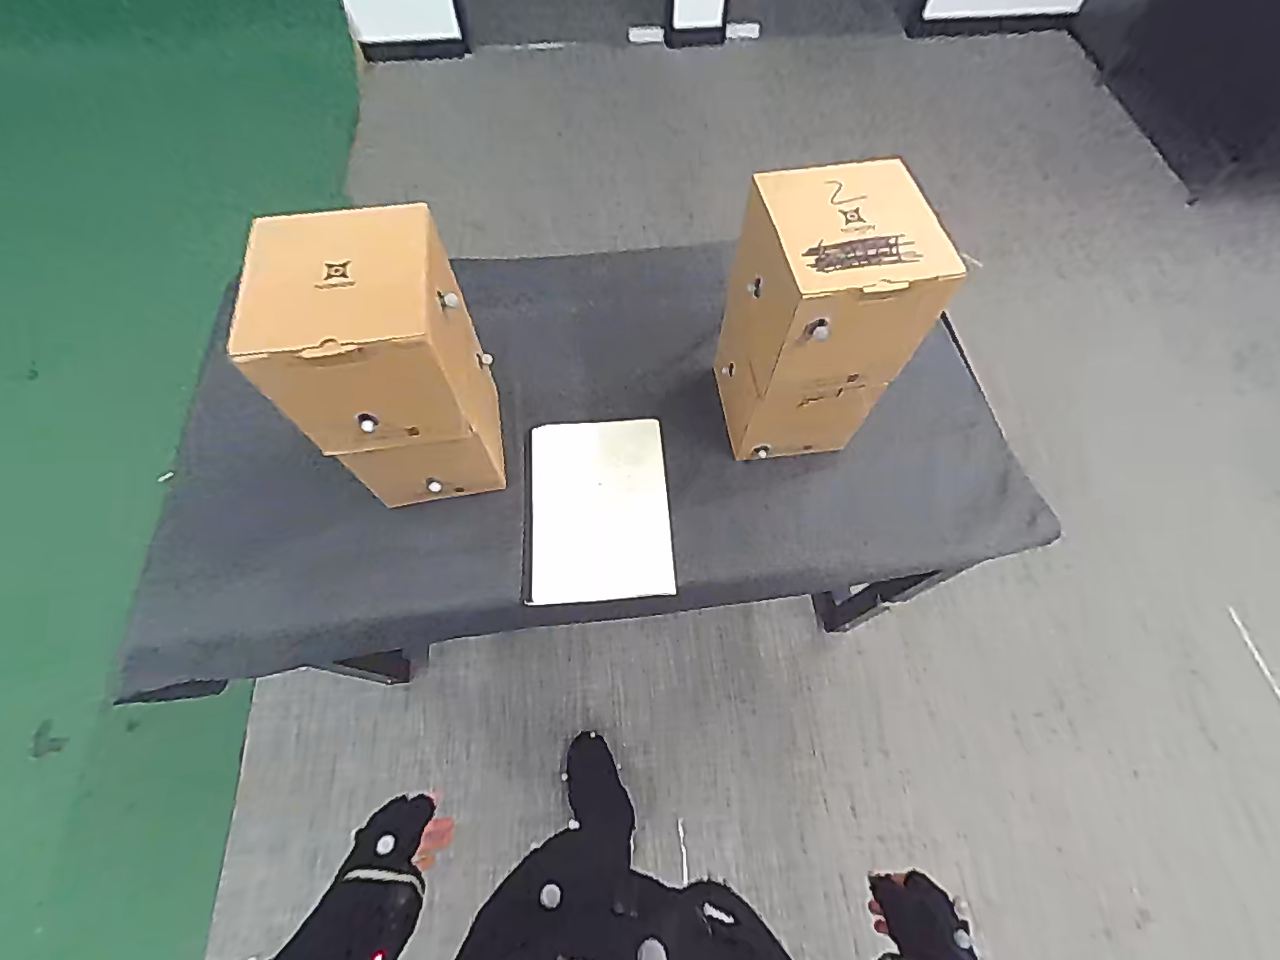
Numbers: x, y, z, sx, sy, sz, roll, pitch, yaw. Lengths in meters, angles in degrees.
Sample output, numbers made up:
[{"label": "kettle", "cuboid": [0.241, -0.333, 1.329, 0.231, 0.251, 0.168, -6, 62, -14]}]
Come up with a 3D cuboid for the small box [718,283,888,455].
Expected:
[{"label": "small box", "cuboid": [0.213, -0.146, 0.762, 0.168, 0.176, 0.179, -6, 63, -4]}]

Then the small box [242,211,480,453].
[{"label": "small box", "cuboid": [-0.273, -0.150, 0.574, 0.168, 0.176, 0.179, -8, 64, -6]}]

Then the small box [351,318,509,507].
[{"label": "small box", "cuboid": [-0.278, -0.085, 0.722, 0.168, 0.176, 0.179, -10, 64, -5]}]
